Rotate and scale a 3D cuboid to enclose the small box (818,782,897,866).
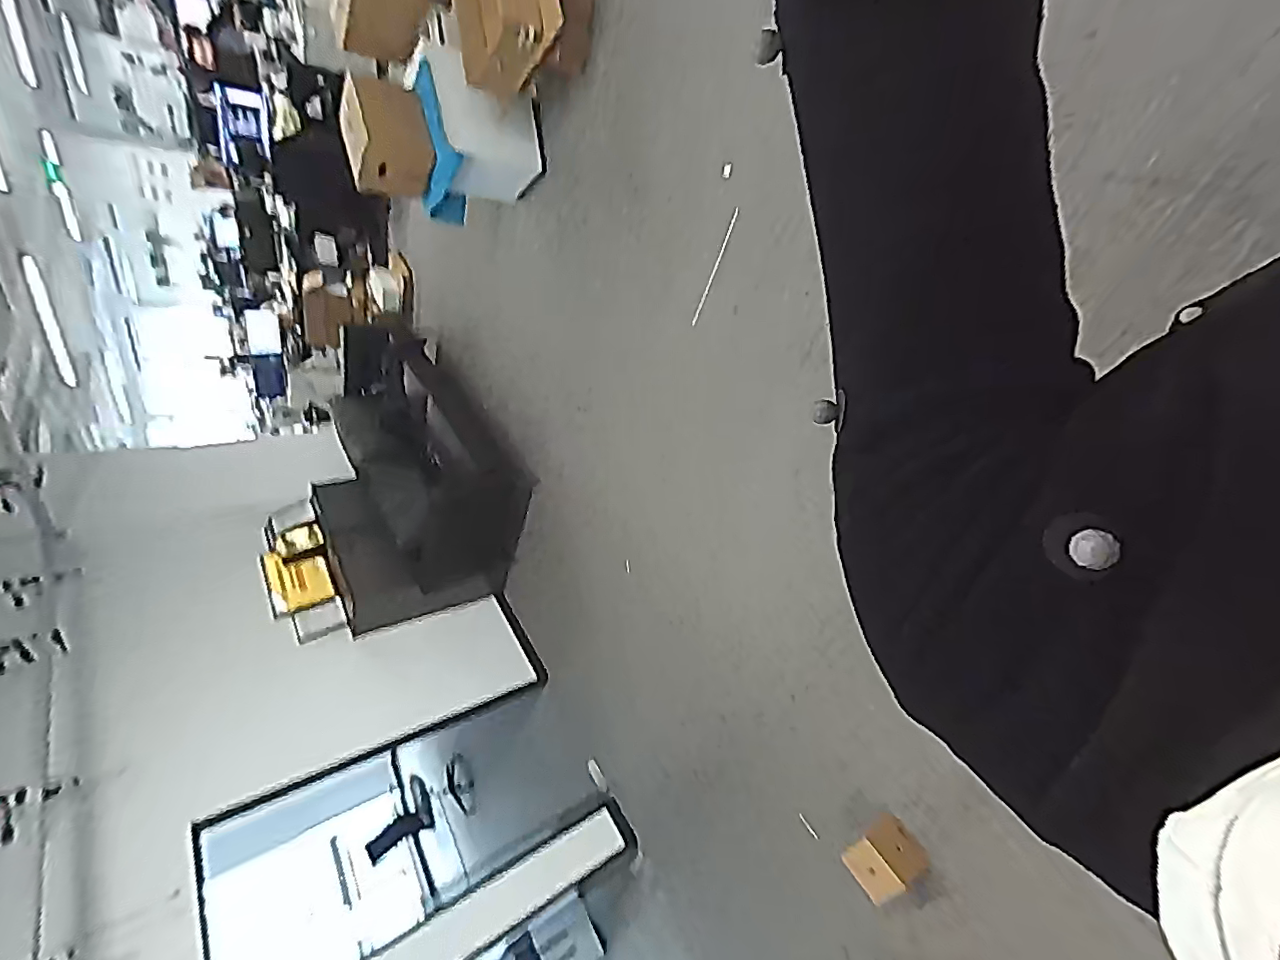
[{"bbox_3d":[0.779,1.216,1.919,0.168,0.176,0.179,49,134,31],"label":"small box"}]
